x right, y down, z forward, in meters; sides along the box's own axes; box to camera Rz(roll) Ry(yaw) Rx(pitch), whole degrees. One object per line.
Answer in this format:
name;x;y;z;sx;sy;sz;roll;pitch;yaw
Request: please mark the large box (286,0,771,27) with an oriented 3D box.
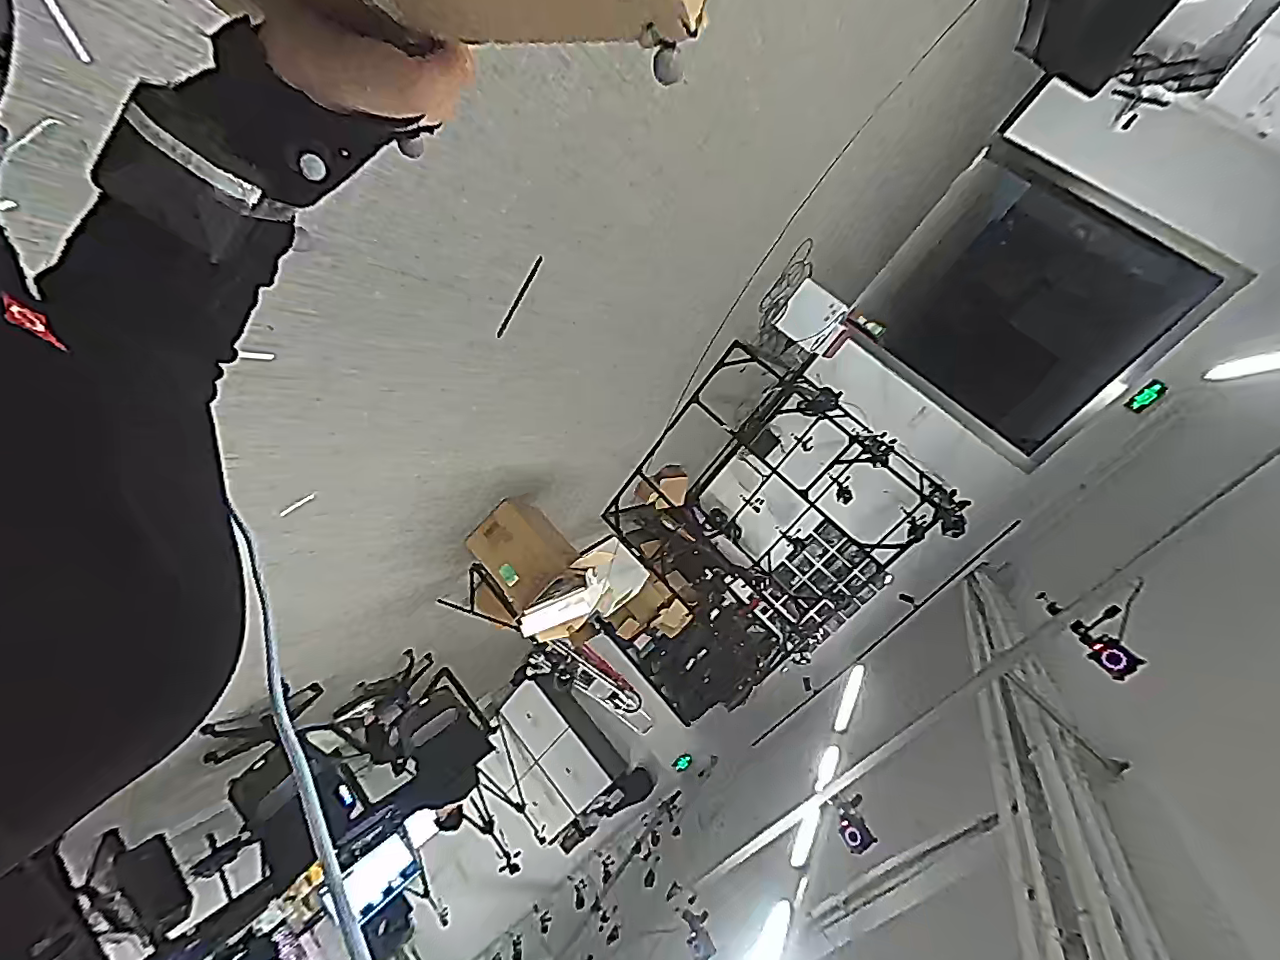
large box;-0.108;-0.387;0.078;0.408;0.320;0.320;11;101;-65
